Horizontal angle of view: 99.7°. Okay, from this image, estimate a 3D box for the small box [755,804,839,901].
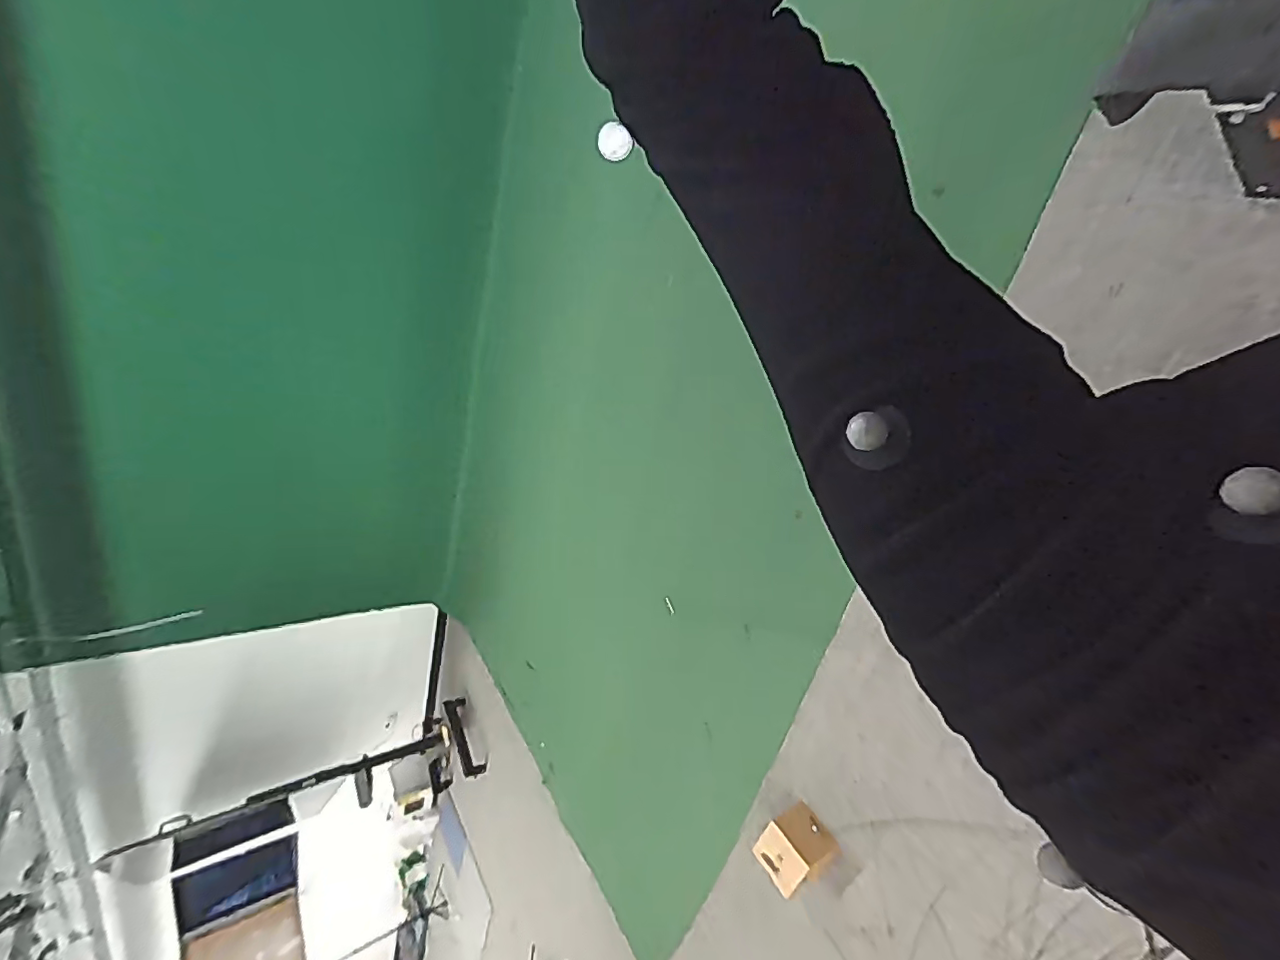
[{"bbox_3d":[0.513,1.205,1.758,0.168,0.176,0.179,43,123,42],"label":"small box"}]
